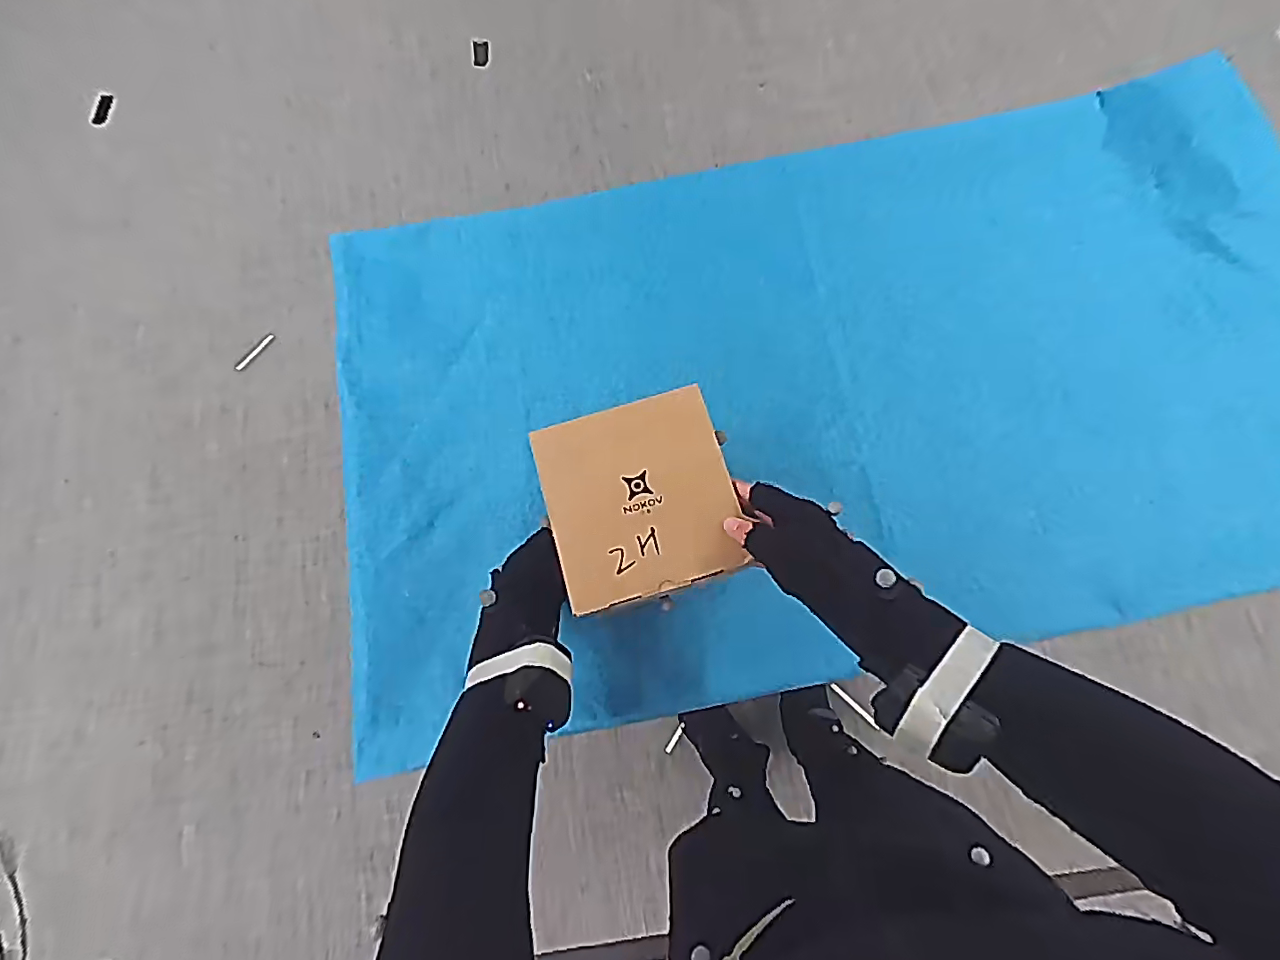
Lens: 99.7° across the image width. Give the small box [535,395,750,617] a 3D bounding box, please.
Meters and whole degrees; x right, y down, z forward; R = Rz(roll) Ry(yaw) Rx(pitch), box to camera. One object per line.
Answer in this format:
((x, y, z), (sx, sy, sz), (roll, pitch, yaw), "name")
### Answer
((0.002, 0.036, 0.560), (0.168, 0.176, 0.179), (-13, 78, 1), "small box")
